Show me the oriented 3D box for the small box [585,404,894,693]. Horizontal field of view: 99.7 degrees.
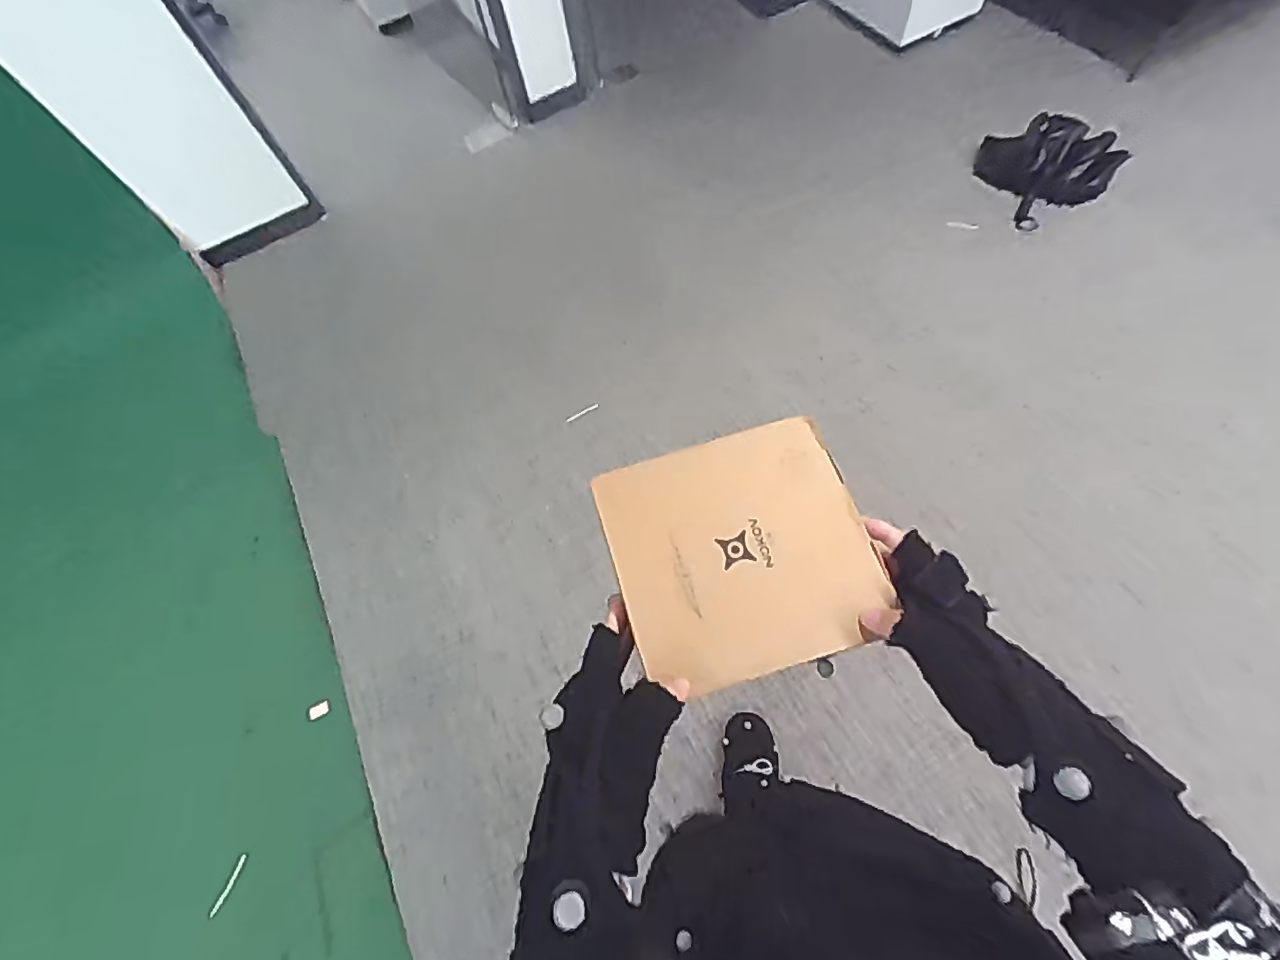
[{"bbox_3d":[0.068,0.066,0.453,0.179,0.176,0.168,-19,69,-2],"label":"small box"}]
